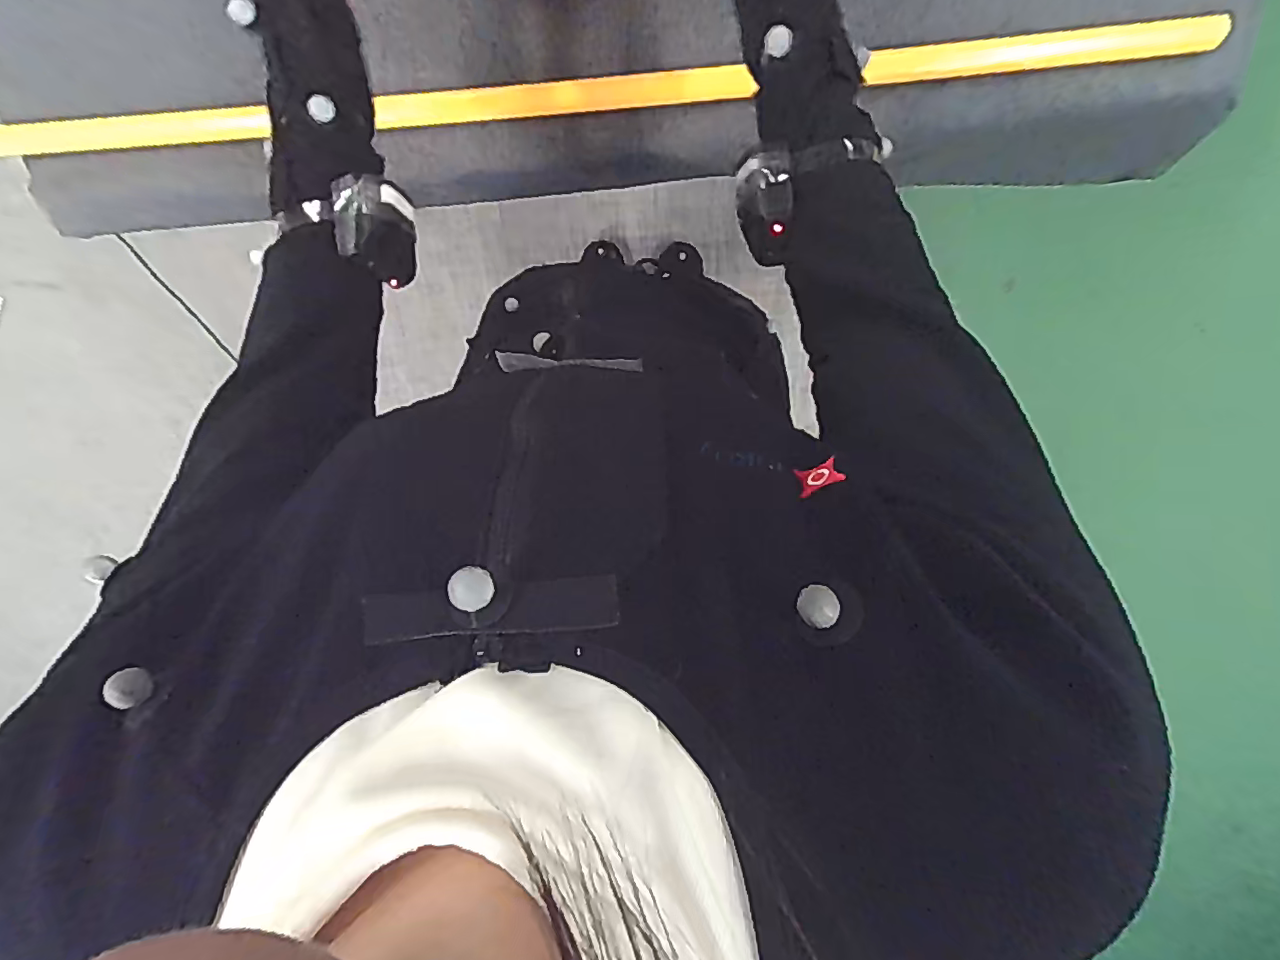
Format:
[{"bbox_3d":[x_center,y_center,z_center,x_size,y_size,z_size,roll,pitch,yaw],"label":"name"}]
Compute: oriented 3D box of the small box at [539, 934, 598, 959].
[{"bbox_3d":[-0.240,1.657,1.799,0.168,0.176,0.179,-10,115,5],"label":"small box"}]
